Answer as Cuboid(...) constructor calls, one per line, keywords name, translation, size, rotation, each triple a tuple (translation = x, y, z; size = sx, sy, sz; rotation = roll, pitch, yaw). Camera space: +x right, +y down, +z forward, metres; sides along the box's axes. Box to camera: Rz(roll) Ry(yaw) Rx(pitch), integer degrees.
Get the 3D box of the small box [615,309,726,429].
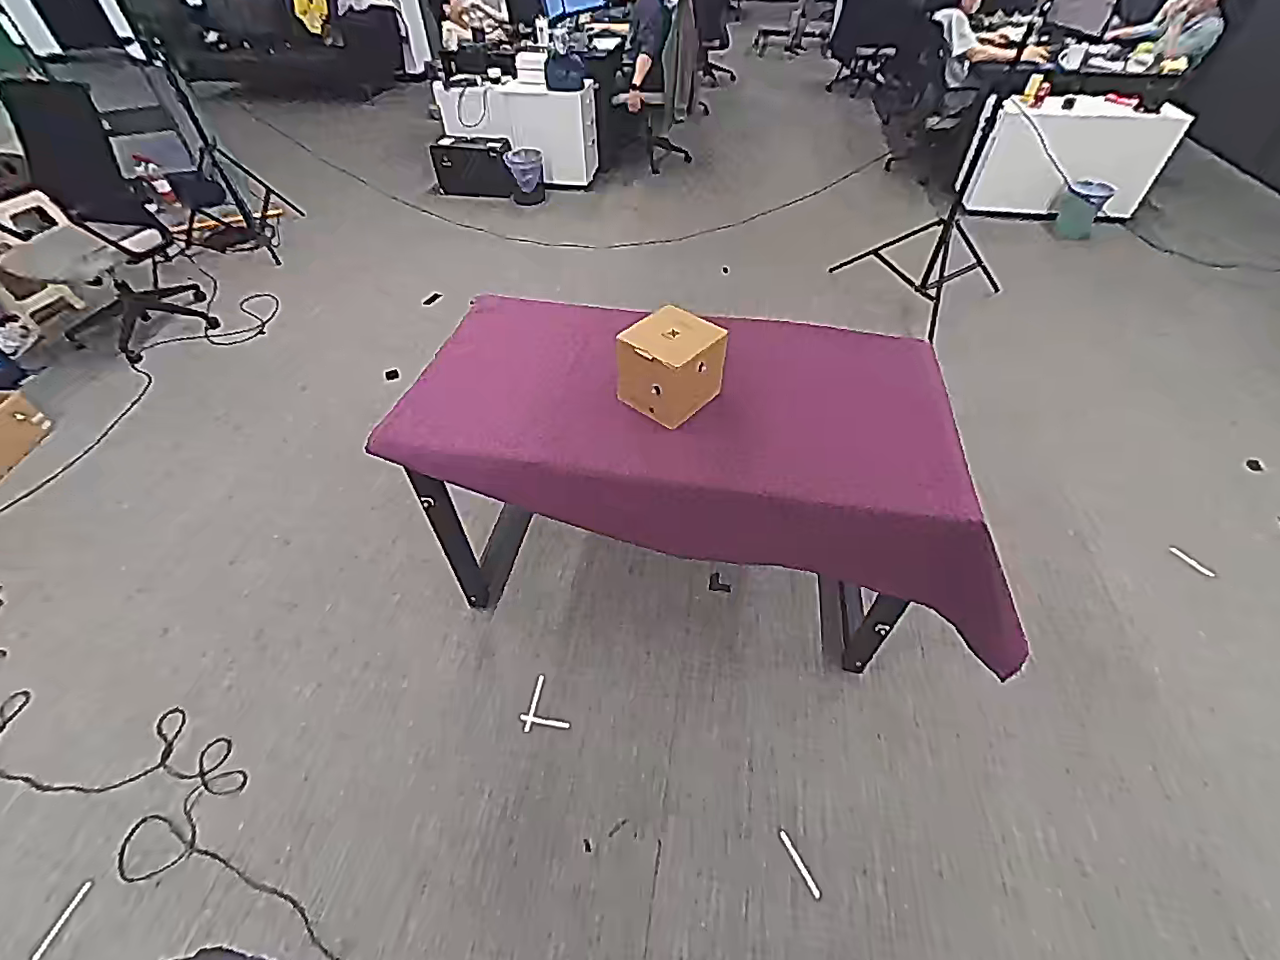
Cuboid(name="small box", translation=(0.066, -0.240, 1.182), size=(0.168, 0.176, 0.179), rotation=(33, 55, 26))
